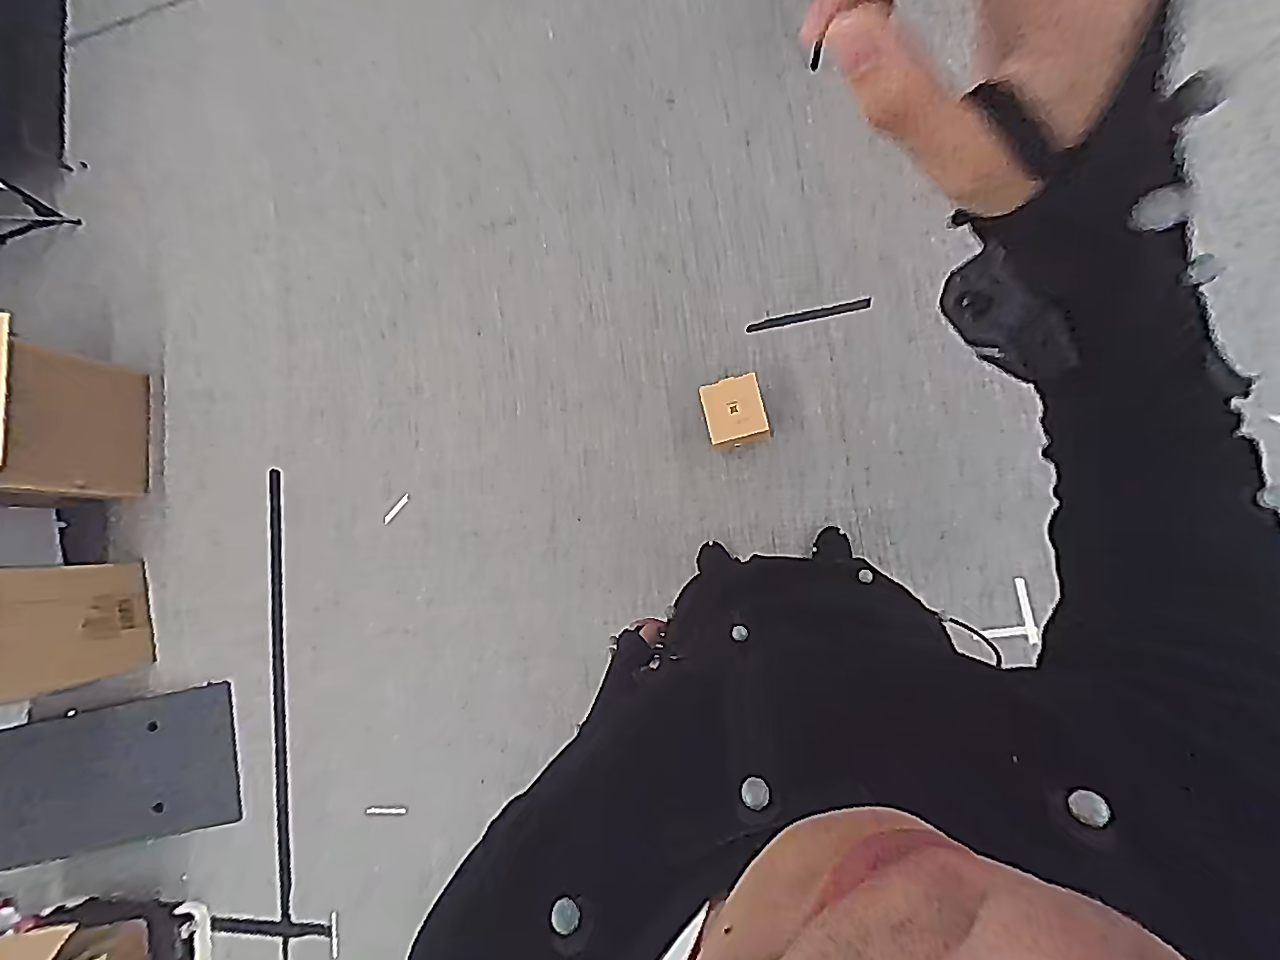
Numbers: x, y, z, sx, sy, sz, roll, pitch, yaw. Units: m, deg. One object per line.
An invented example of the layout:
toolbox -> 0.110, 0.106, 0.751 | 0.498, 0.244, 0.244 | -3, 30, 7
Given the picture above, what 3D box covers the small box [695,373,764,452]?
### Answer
small box -> 0.269, -0.196, 1.613 | 0.168, 0.176, 0.179 | -14, 82, 12
